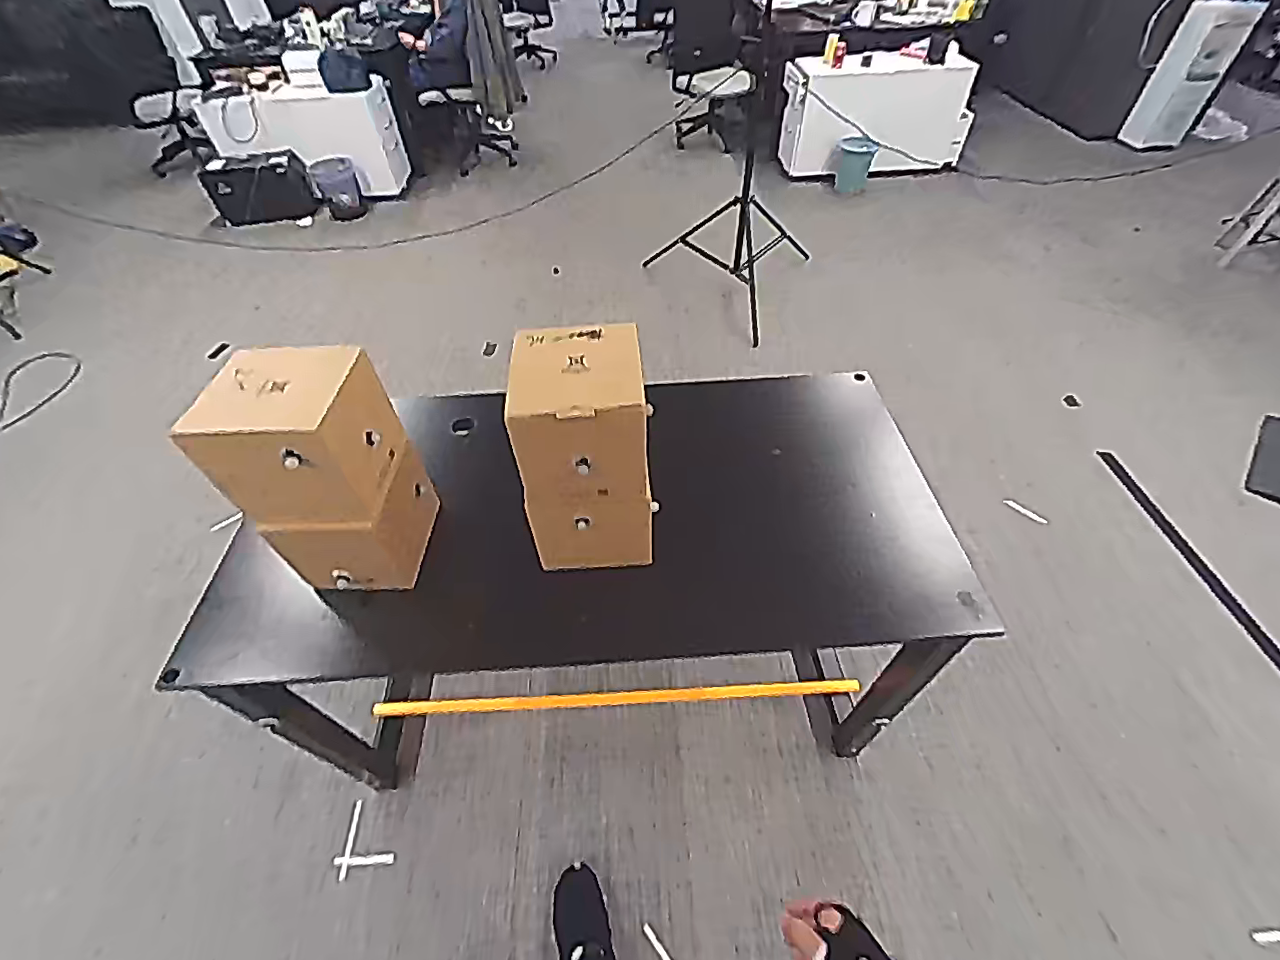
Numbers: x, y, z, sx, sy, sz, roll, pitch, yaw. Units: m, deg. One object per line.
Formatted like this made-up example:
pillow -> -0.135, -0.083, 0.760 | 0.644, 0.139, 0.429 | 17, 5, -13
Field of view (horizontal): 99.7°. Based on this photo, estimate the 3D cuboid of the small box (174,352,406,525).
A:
small box -> -0.441, -0.052, 0.724 | 0.179, 0.176, 0.168 | -2, 48, 2

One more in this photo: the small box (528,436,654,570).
small box -> -0.070, 0.030, 0.855 | 0.179, 0.176, 0.168 | -3, 49, -1

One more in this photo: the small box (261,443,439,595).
small box -> -0.431, 0.062, 0.844 | 0.168, 0.176, 0.179 | -2, 50, 2

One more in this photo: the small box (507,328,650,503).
small box -> -0.075, -0.081, 0.735 | 0.168, 0.176, 0.179 | -4, 49, -1
